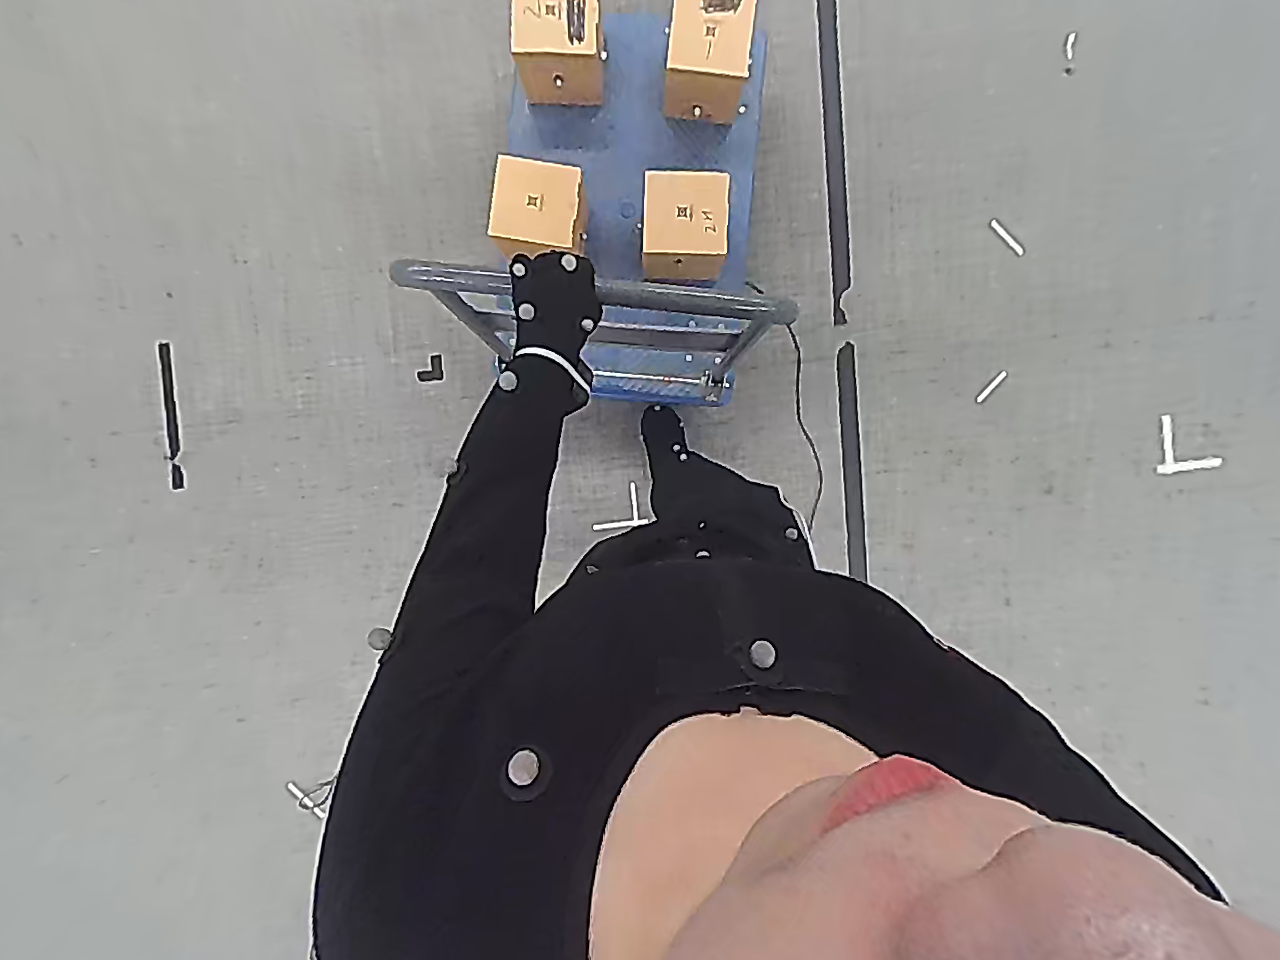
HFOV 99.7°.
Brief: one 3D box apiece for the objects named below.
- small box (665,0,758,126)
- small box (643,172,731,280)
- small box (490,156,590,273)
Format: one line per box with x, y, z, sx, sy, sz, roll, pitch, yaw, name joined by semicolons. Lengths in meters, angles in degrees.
0.147;-0.909;1.162;0.168;0.176;0.179;7;94;0;small box
0.097;-0.547;1.183;0.179;0.176;0.168;1;93;0;small box
-0.212;-0.570;1.181;0.179;0.176;0.168;8;92;-2;small box
